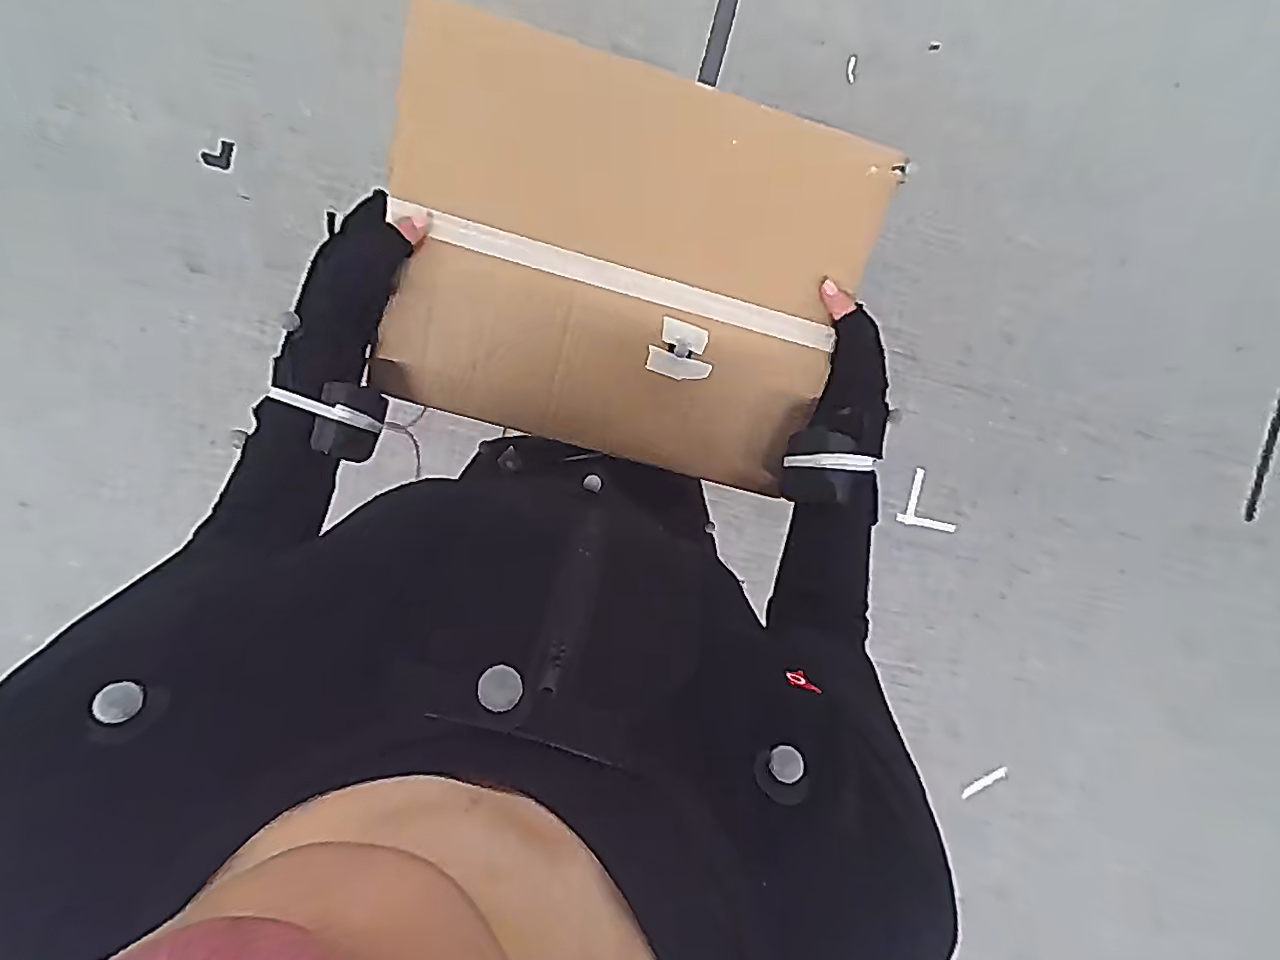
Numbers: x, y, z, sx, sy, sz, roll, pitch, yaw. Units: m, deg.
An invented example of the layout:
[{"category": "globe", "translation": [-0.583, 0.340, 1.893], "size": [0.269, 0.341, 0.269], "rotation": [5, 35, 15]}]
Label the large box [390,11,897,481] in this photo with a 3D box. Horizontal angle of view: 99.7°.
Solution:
[{"category": "large box", "translation": [-0.014, -0.229, 0.625], "size": [0.408, 0.320, 0.320], "rotation": [14, 108, -6]}]
